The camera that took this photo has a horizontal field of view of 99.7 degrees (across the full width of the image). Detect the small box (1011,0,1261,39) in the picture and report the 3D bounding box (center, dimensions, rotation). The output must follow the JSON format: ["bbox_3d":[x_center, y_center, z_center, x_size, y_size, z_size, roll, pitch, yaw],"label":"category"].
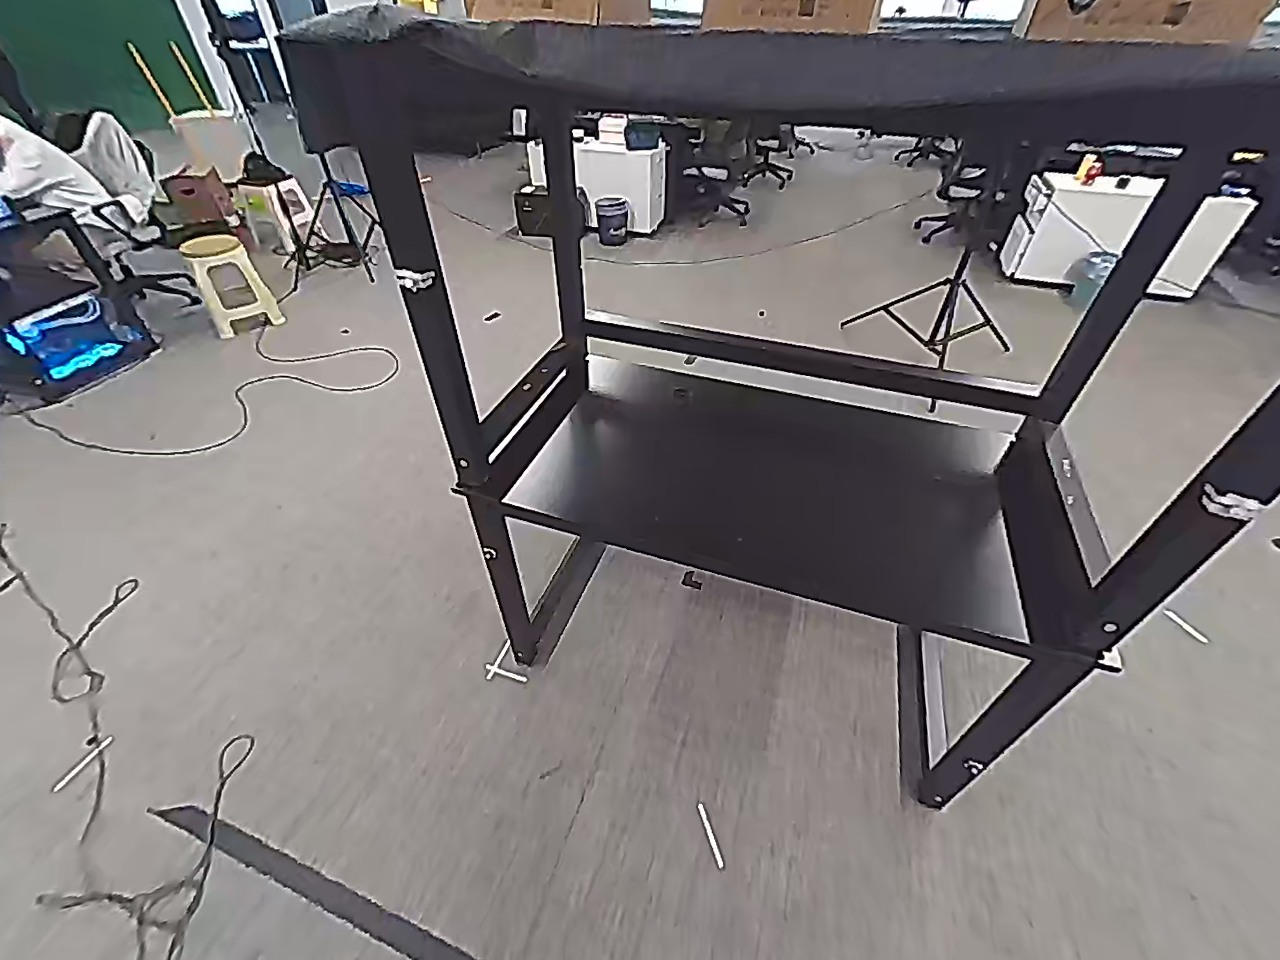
[{"bbox_3d":[0.451,-0.493,0.467,0.168,0.176,0.179,16,43,17],"label":"small box"}]

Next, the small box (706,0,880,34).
[{"bbox_3d":[0.168,-0.558,0.537,0.168,0.176,0.179,14,42,15],"label":"small box"}]

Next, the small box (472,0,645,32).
[{"bbox_3d":[-0.090,-0.617,0.603,0.168,0.176,0.179,14,42,13],"label":"small box"}]
